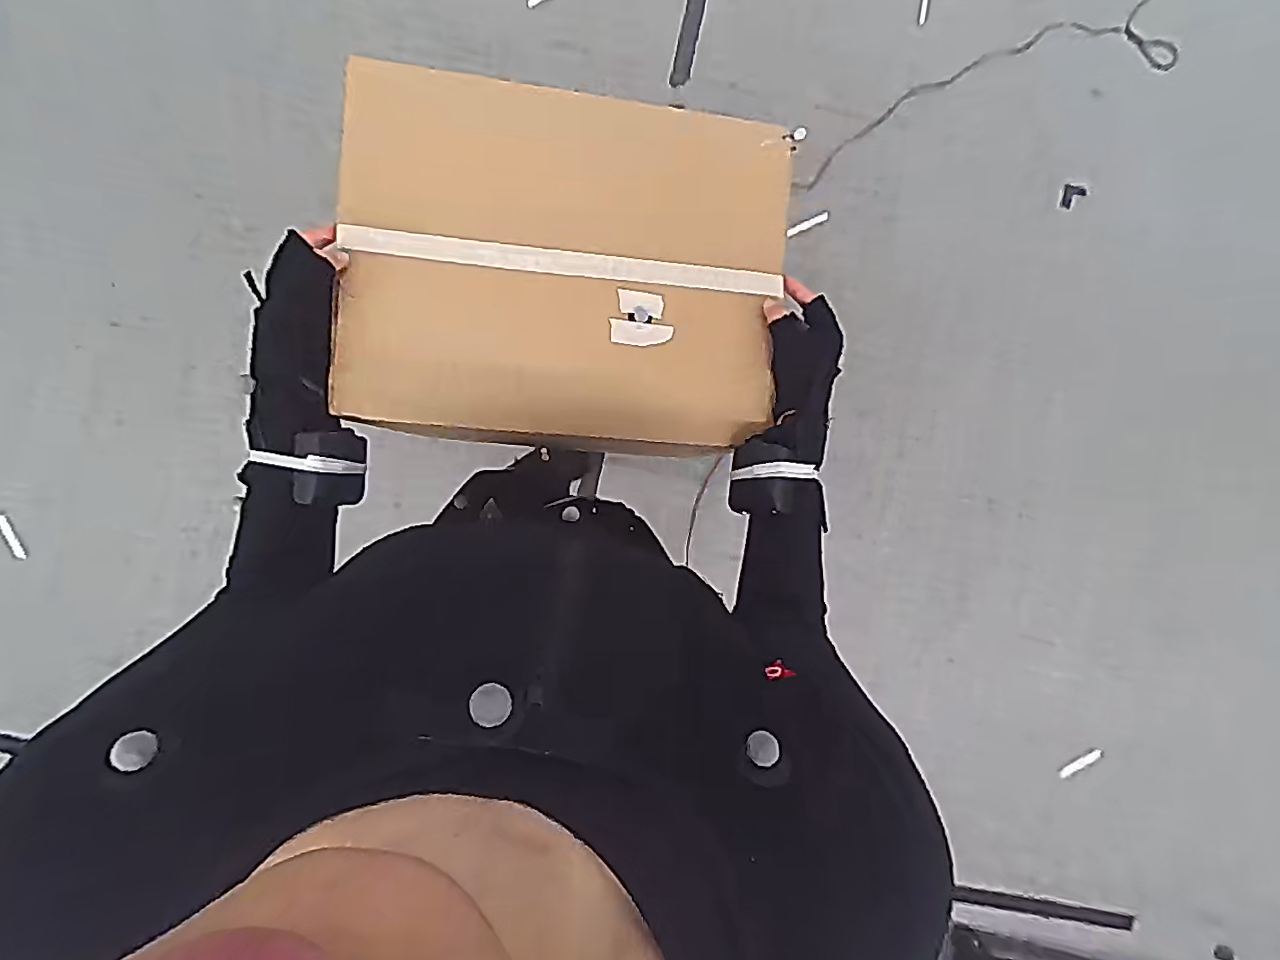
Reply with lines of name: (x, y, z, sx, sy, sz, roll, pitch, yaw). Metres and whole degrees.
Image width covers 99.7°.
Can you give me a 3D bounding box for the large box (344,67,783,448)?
large box: (-0.085, -0.208, 0.654, 0.408, 0.320, 0.320, 4, 92, -8)
